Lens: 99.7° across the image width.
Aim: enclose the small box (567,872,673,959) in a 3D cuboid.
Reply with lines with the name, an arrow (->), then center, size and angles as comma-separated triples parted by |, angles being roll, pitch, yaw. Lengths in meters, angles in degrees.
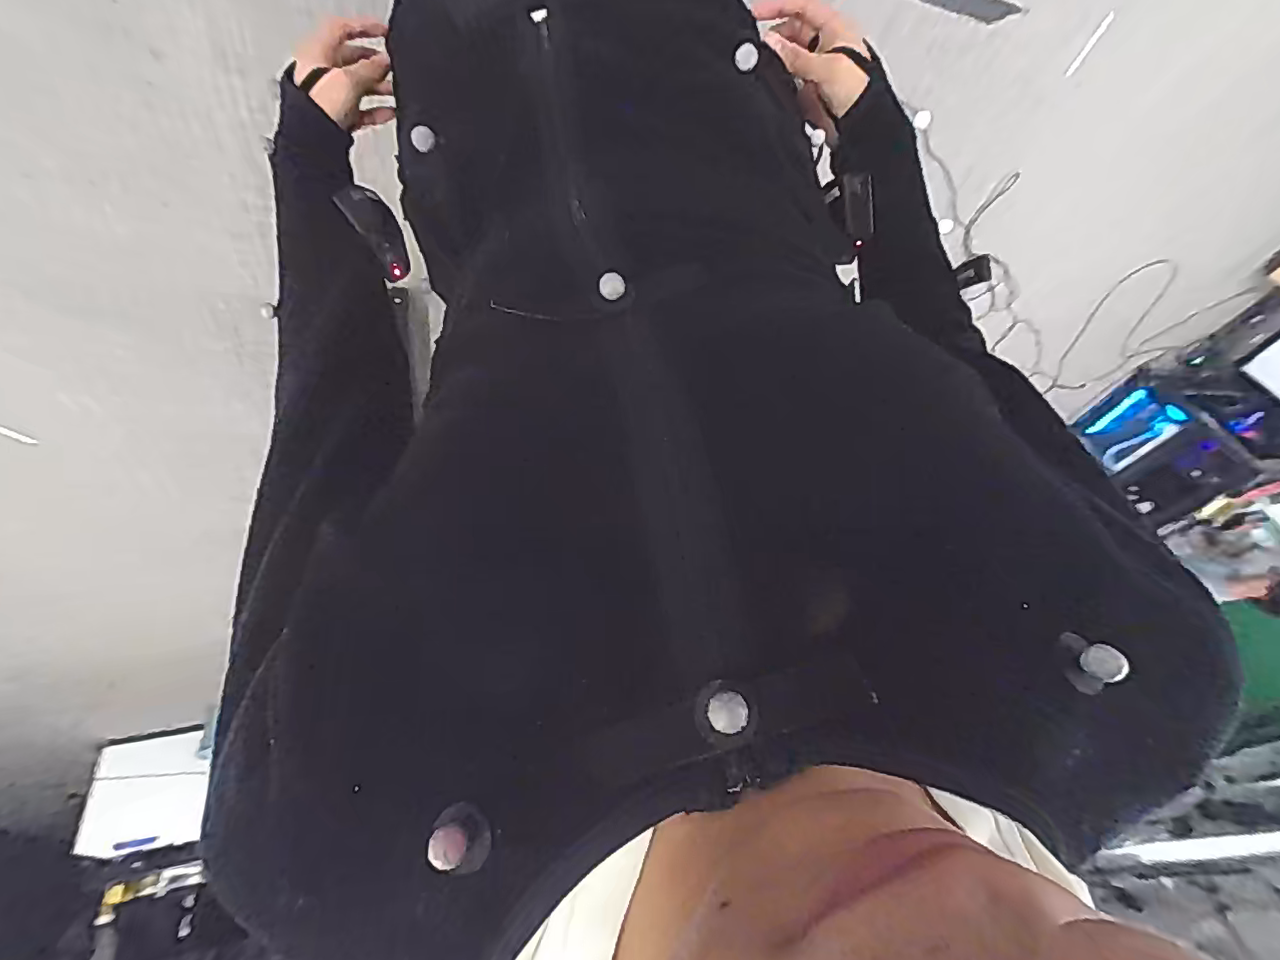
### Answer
small box -> -0.050, 0.932, 1.114 | 0.168, 0.176, 0.179 | -4, 144, -20
